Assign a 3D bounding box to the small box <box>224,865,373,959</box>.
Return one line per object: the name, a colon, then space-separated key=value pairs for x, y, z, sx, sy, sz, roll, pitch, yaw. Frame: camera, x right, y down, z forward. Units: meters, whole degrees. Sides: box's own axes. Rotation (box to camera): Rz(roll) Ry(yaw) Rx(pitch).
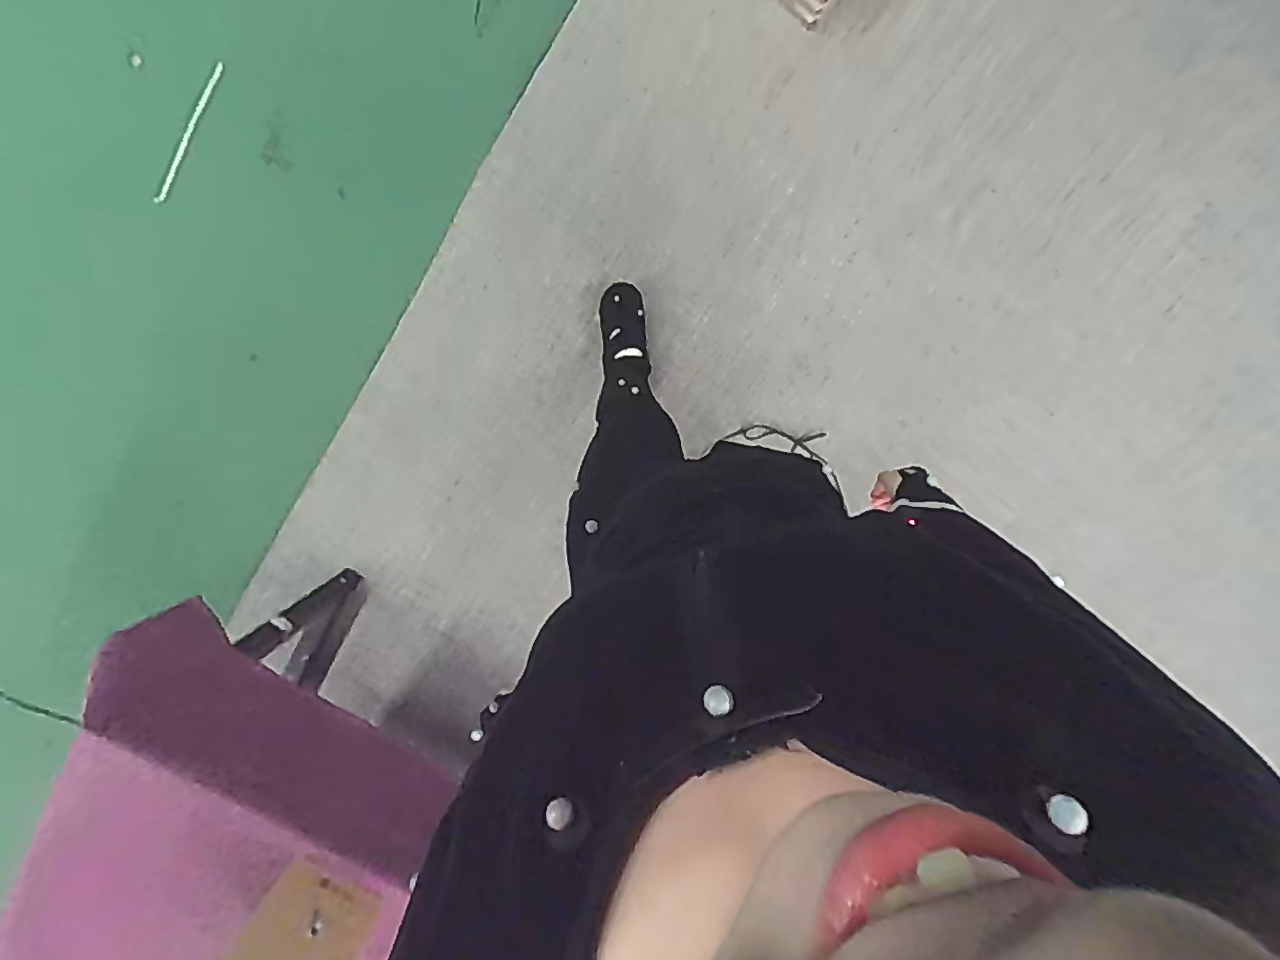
small box: x=-0.542 y=0.745 z=0.823 sx=0.168 sy=0.176 sz=0.179 roll=34 pitch=101 yaw=-5
